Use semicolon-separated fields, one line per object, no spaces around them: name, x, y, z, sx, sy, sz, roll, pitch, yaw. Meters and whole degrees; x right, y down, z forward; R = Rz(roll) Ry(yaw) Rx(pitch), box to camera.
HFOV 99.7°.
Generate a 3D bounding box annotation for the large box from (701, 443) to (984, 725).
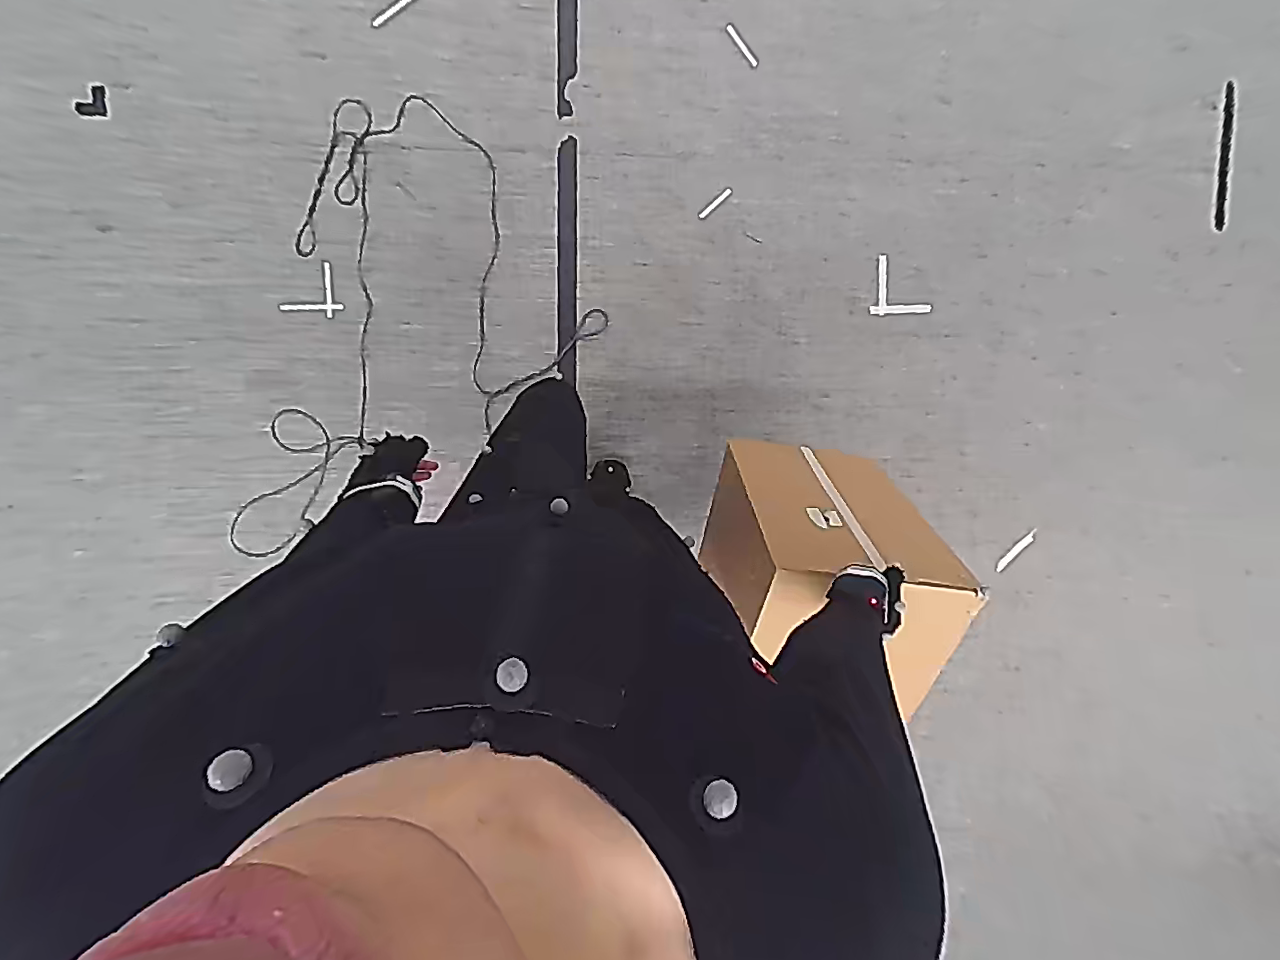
large box;0.316;0.174;1.004;0.320;0.408;0.320;7;121;-5
